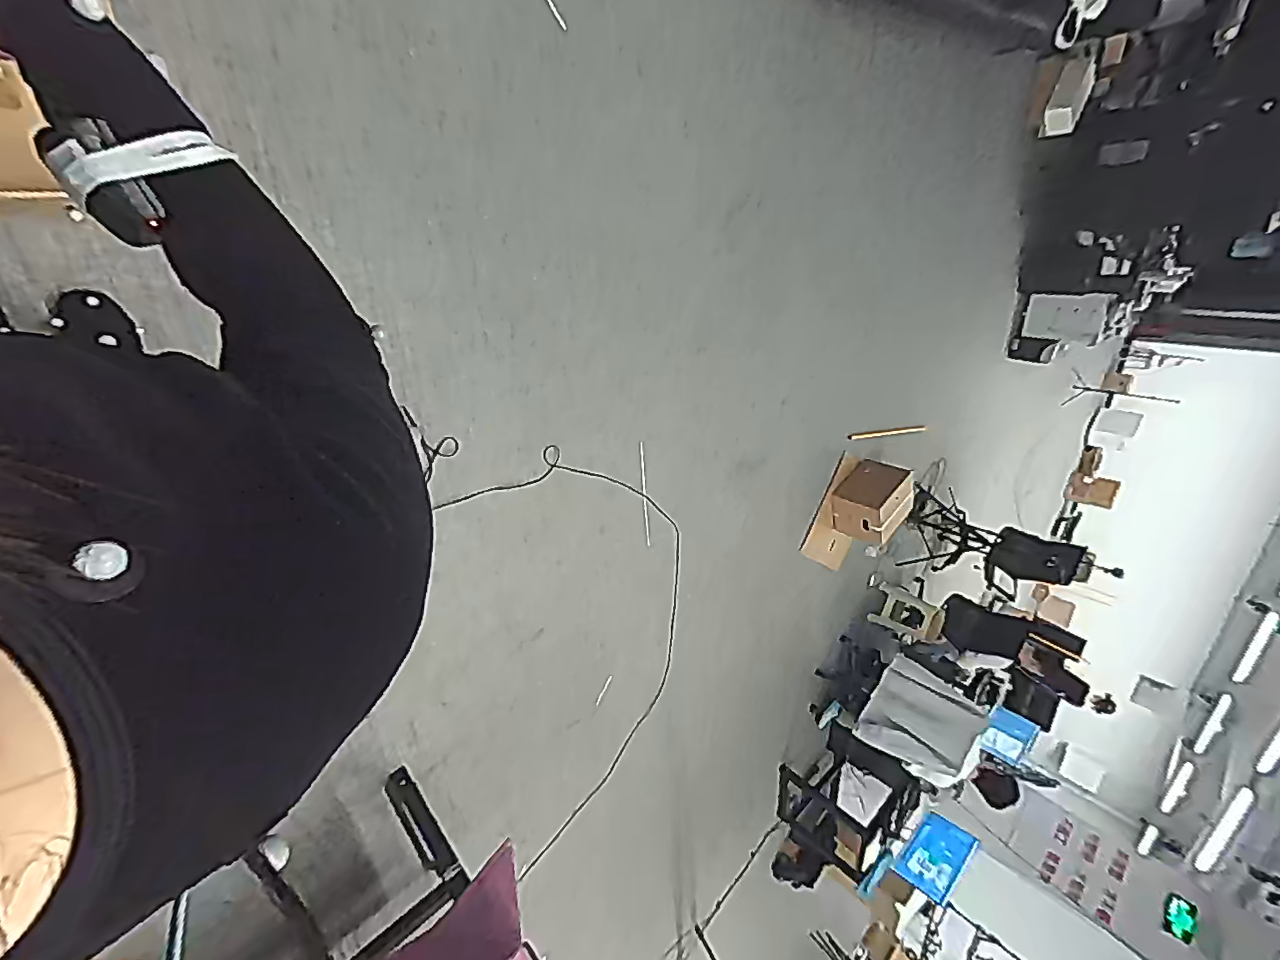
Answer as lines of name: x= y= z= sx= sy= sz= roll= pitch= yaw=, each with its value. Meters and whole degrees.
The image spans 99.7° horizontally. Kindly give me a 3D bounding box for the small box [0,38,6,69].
small box: x=-0.612 y=-0.423 z=0.383 sx=0.168 sy=0.176 sz=0.179 roll=-19 pitch=119 yaw=-38
